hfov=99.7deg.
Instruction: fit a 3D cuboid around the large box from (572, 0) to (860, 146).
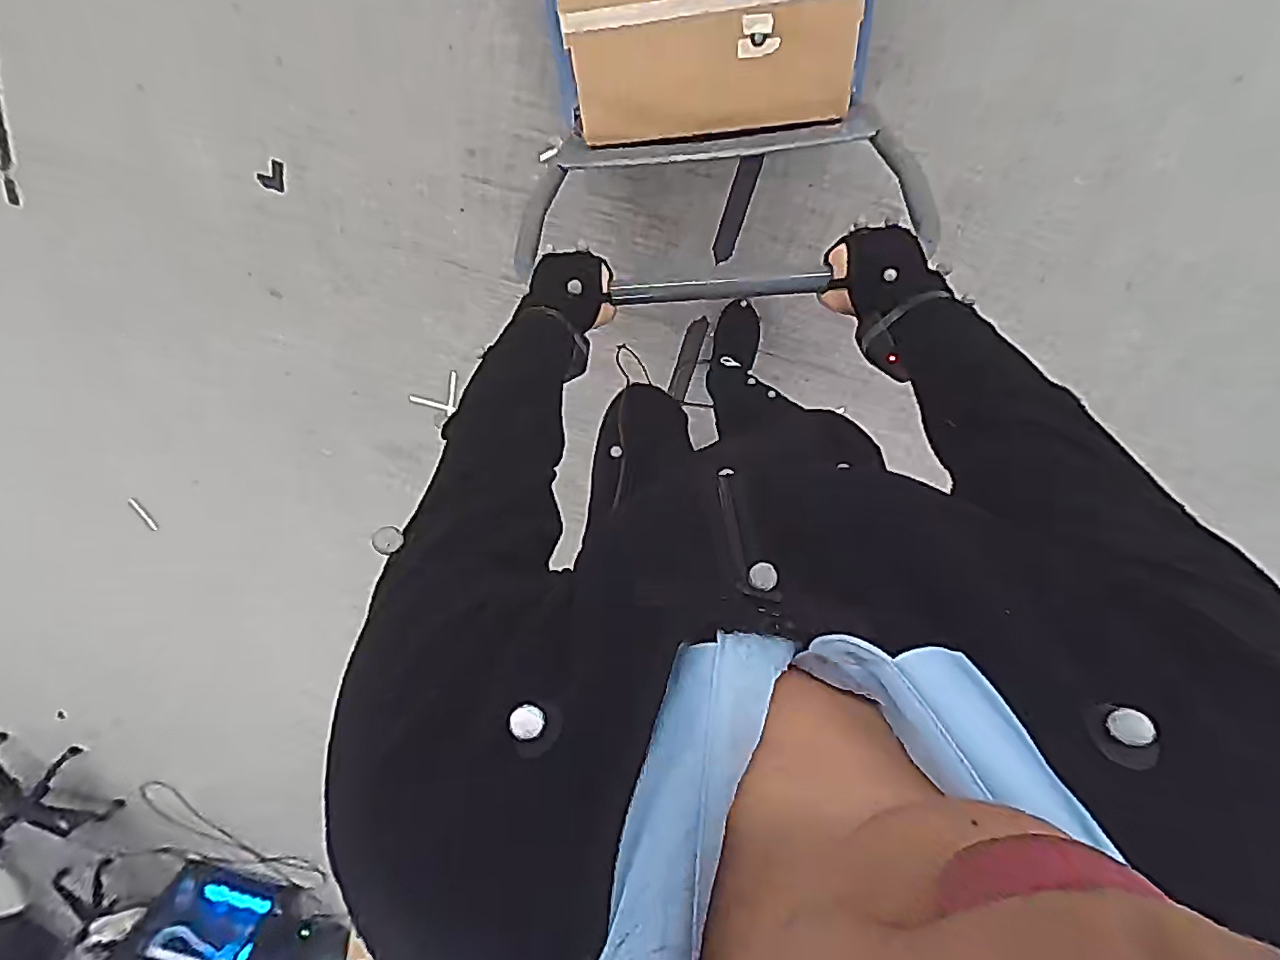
[{"bbox_3d":[0.112,-0.765,0.861,0.408,0.320,0.320,-3,133,7],"label":"large box"}]
